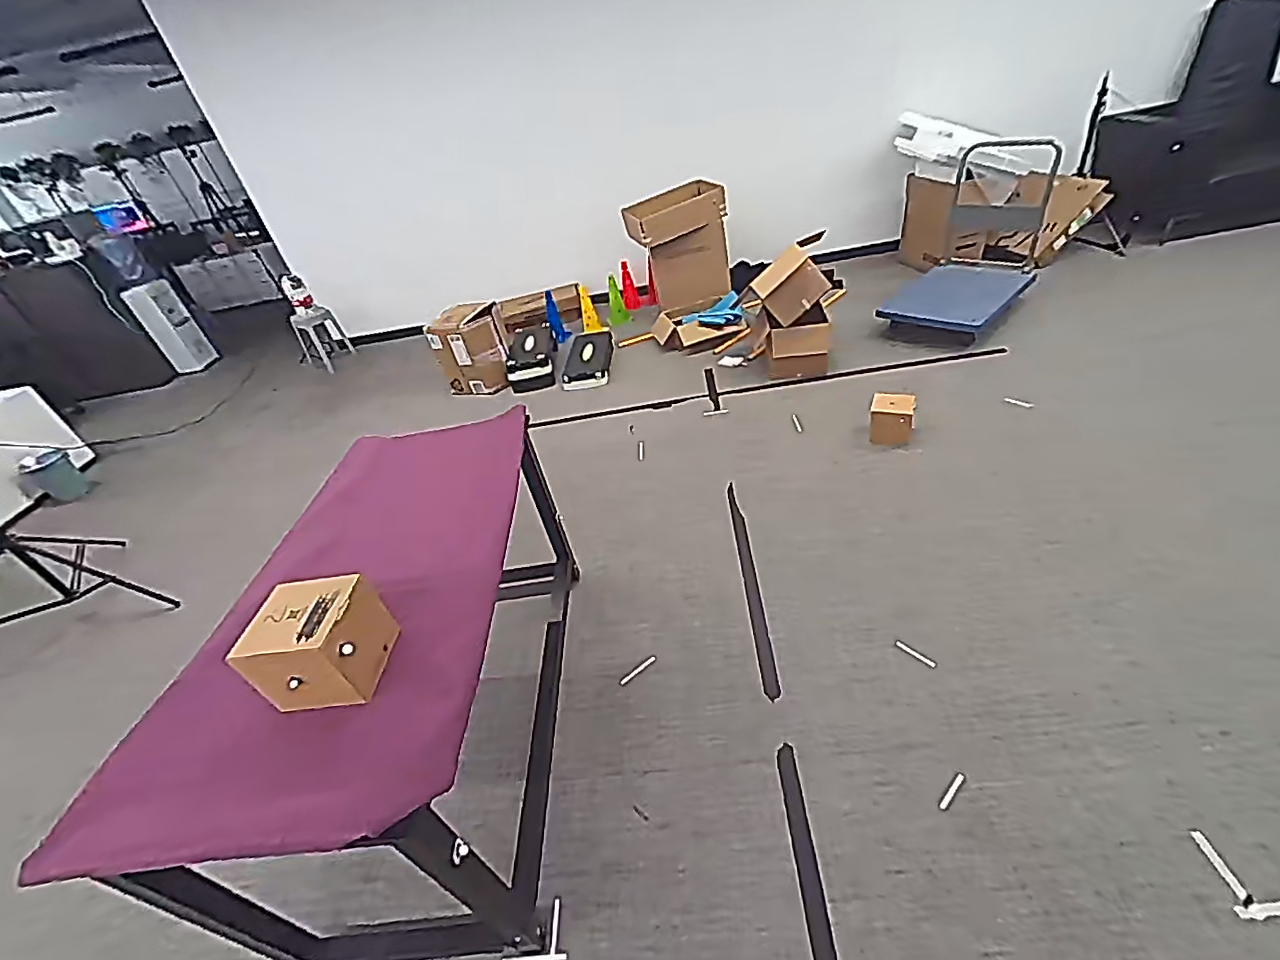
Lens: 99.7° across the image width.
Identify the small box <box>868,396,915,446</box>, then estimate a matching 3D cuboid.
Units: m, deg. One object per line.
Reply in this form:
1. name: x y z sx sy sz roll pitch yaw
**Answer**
1. small box: 1.156 -0.271 2.493 0.179 0.176 0.168 8 41 25
